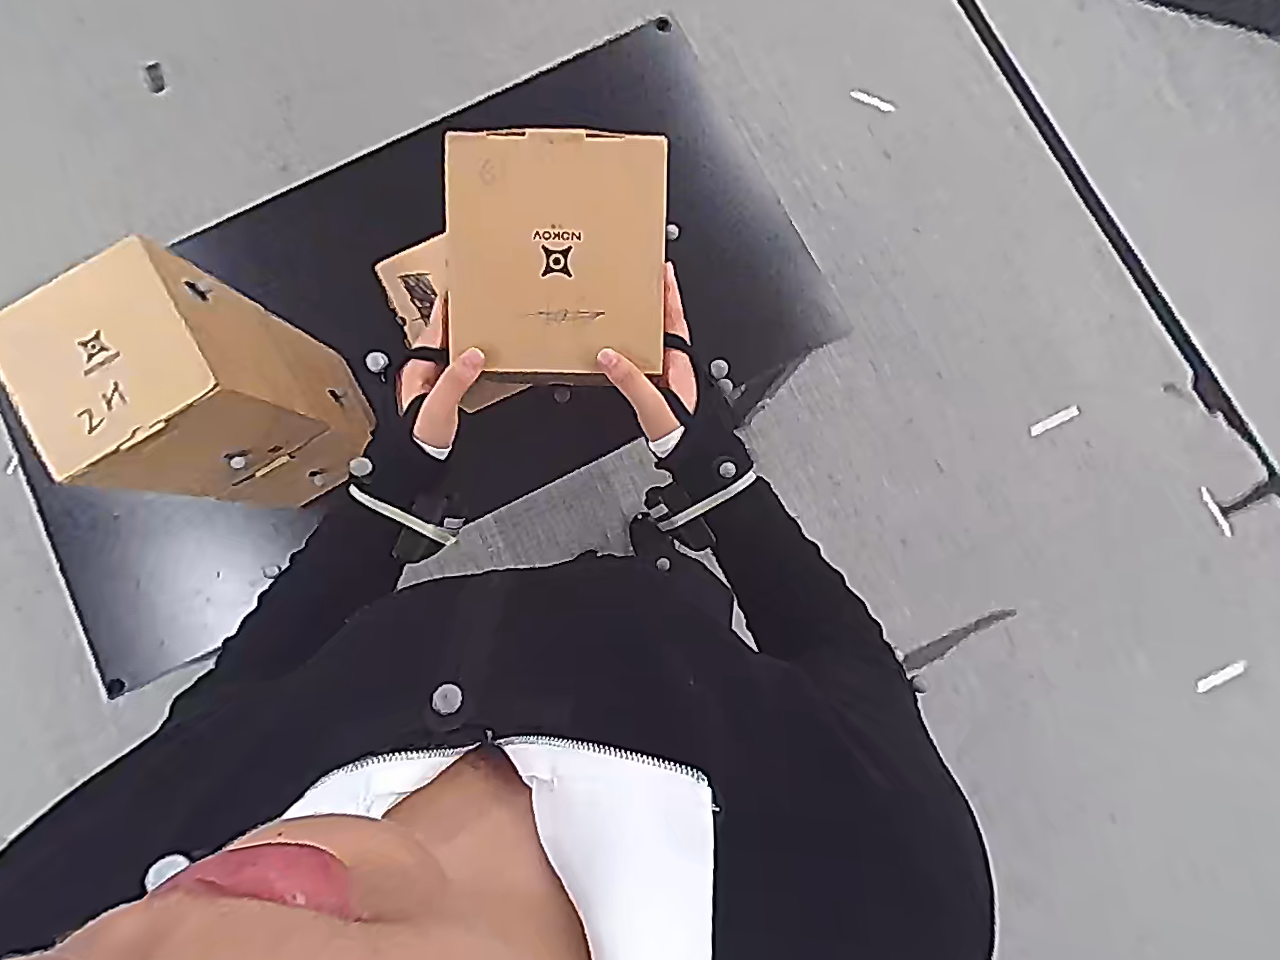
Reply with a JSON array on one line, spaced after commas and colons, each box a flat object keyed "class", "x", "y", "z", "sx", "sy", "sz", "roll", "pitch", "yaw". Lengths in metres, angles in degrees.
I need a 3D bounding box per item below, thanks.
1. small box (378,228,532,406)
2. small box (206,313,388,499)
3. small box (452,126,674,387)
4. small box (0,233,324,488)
[{"class": "small box", "x": -0.214, "y": -0.222, "z": 0.742, "sx": 0.179, "sy": 0.176, "sz": 0.168, "roll": -25, "pitch": 84, "yaw": -3}, {"class": "small box", "x": -0.480, "y": -0.085, "z": 0.732, "sx": 0.168, "sy": 0.176, "sz": 0.179, "roll": -31, "pitch": 85, "yaw": -2}, {"class": "small box", "x": -0.061, "y": -0.181, "z": 0.488, "sx": 0.168, "sy": 0.176, "sz": 0.179, "roll": 2, "pitch": 97, "yaw": 0}, {"class": "small box", "x": -0.484, "y": -0.108, "z": 0.568, "sx": 0.168, "sy": 0.176, "sz": 0.179, "roll": -32, "pitch": 84, "yaw": -2}]
